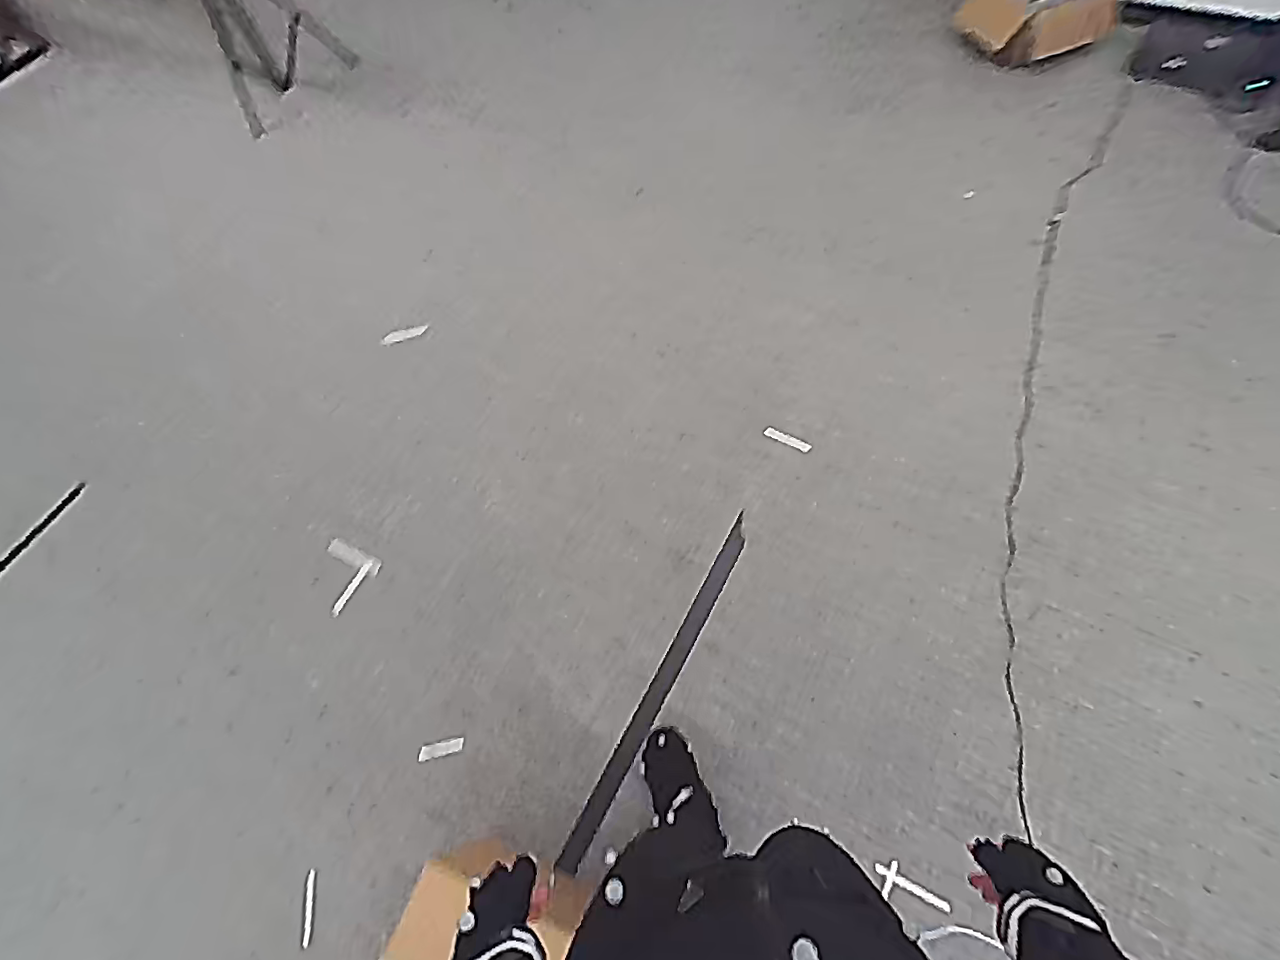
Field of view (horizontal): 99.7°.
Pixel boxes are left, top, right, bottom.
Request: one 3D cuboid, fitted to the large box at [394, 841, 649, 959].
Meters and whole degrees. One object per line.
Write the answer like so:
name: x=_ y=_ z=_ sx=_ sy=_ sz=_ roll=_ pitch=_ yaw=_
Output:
large box: x=-0.222 y=0.927 z=0.992 sx=0.408 sy=0.320 sz=0.320 roll=17 pitch=67 yaw=11
